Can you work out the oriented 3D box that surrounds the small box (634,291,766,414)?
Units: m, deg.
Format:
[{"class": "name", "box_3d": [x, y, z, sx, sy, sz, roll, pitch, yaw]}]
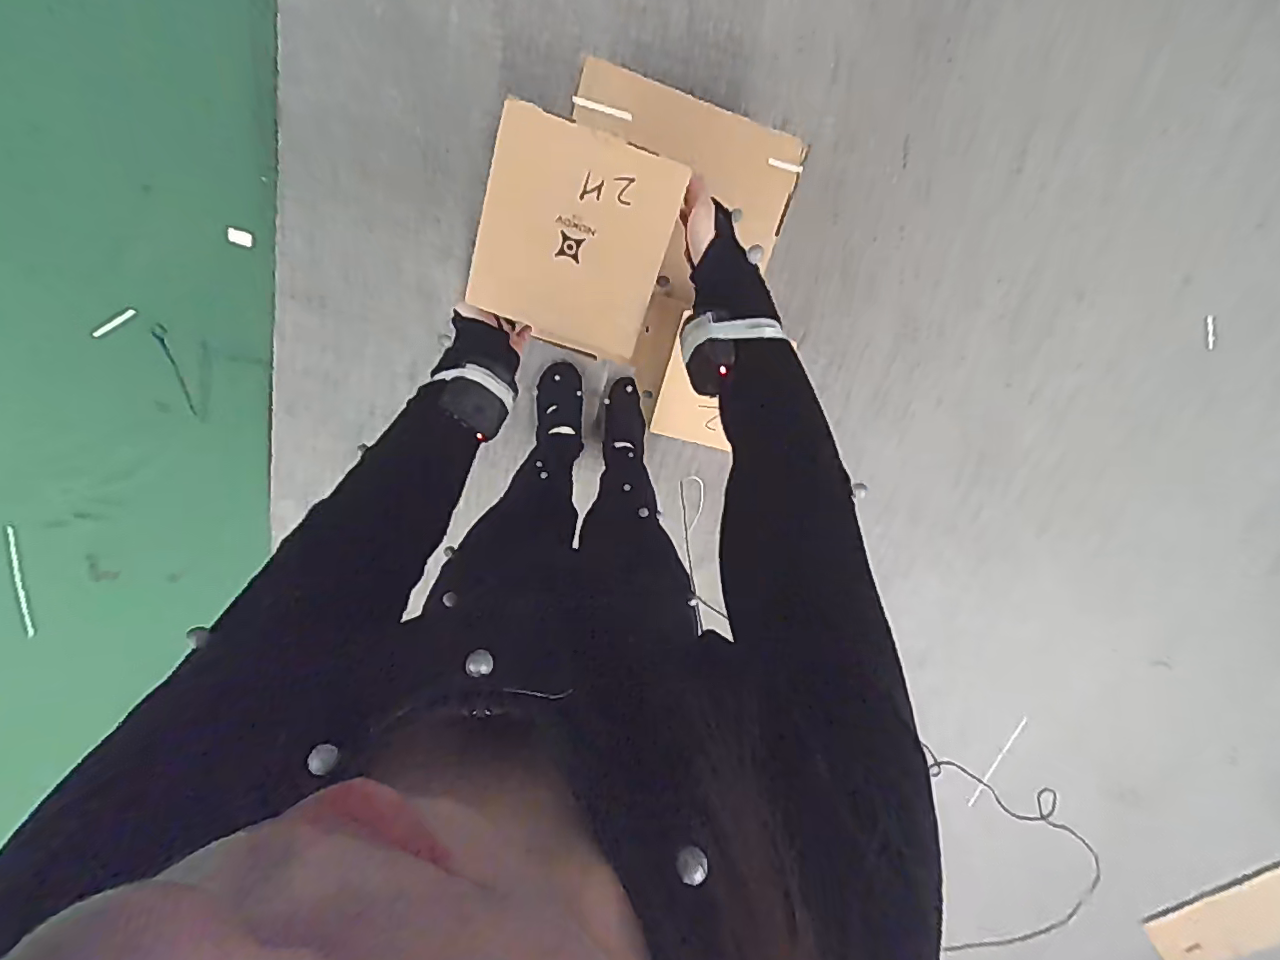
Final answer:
[{"class": "small box", "box_3d": [0.097, -0.234, 0.967, 0.179, 0.176, 0.168, 12, 110, -10]}]
